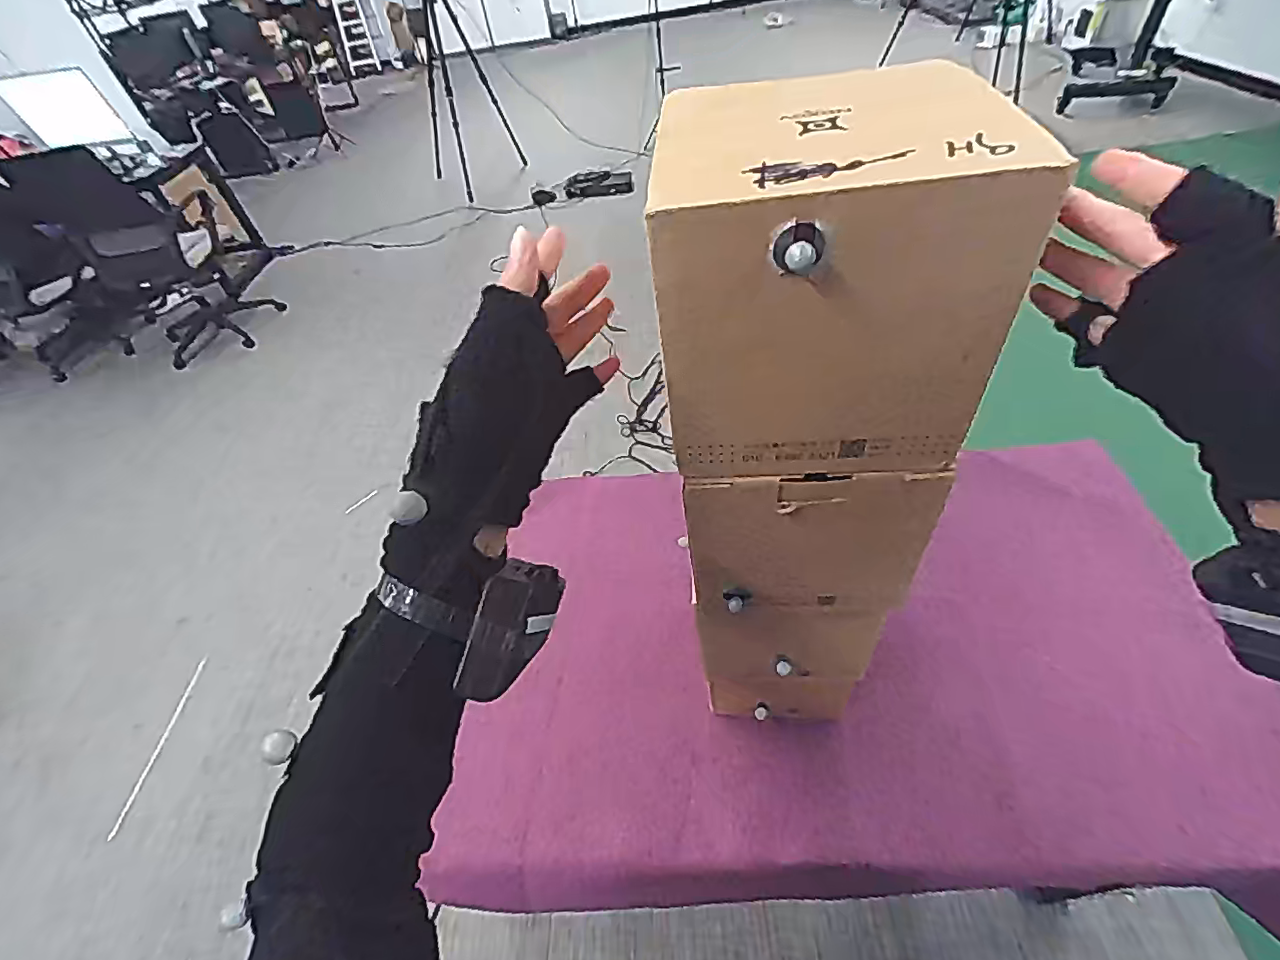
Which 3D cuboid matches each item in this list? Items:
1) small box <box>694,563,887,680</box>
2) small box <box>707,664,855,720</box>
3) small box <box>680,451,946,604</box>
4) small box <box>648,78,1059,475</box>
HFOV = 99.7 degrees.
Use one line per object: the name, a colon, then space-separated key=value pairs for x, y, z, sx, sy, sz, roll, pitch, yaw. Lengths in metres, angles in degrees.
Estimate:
small box: x=0.144 y=0.094 z=0.579 sx=0.168 sy=0.176 sz=0.179 roll=-4 pitch=48 yaw=9
small box: x=0.172 y=0.192 z=0.708 sx=0.168 sy=0.176 sz=0.179 roll=-2 pitch=48 yaw=9
small box: x=0.125 y=-0.009 z=0.452 sx=0.168 sy=0.176 sz=0.179 roll=-3 pitch=47 yaw=9
small box: x=0.102 y=-0.122 z=0.336 sx=0.168 sy=0.176 sz=0.179 roll=-1 pitch=47 yaw=10
